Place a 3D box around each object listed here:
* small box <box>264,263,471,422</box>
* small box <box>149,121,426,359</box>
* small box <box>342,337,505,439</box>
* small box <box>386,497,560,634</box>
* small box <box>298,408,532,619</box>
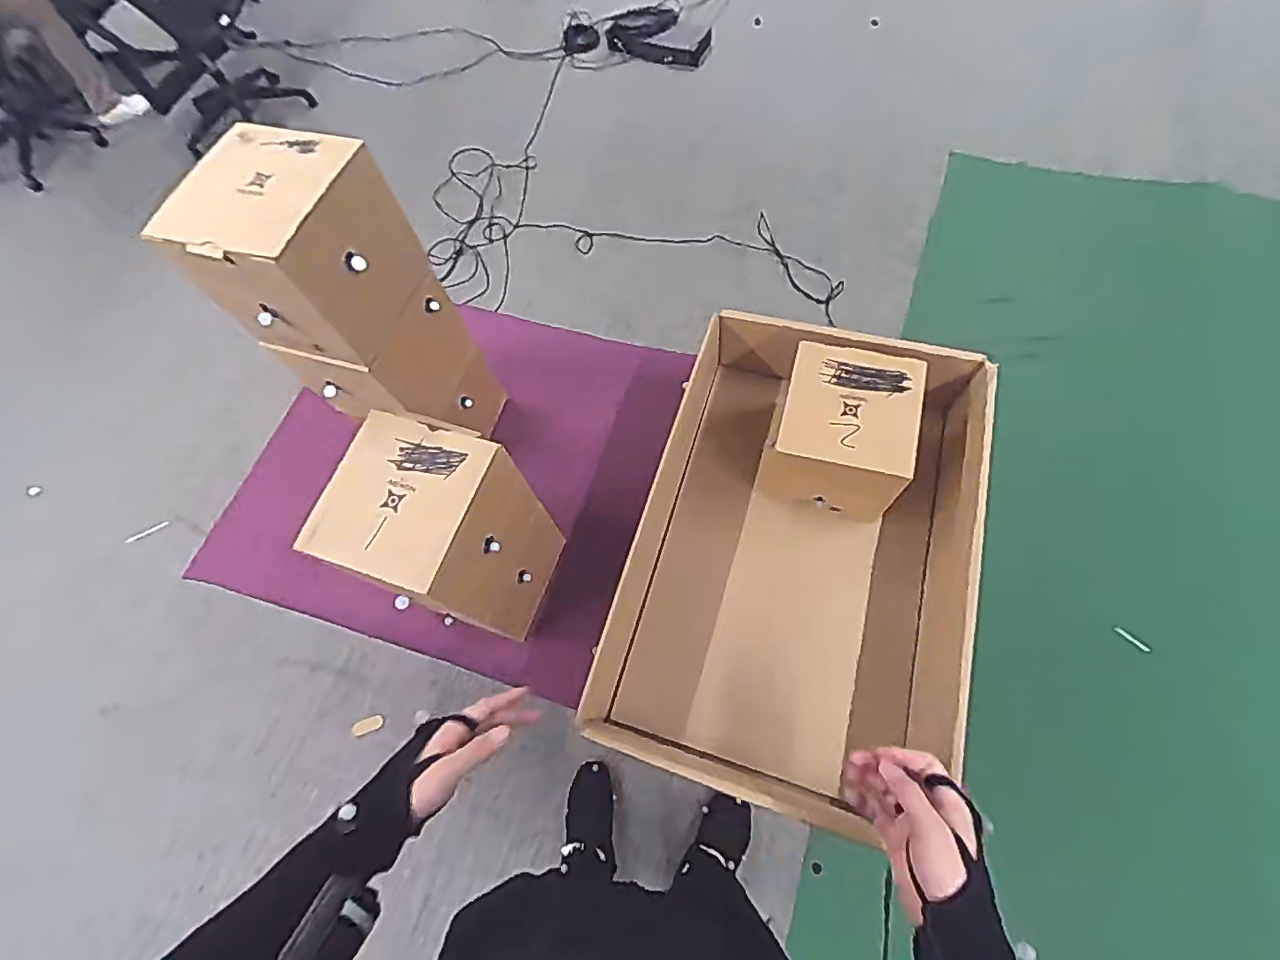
[{"bbox_3d":[-0.368,-0.197,0.771,0.168,0.176,0.179,15,68,11],"label":"small box"},{"bbox_3d":[-0.379,-0.266,0.622,0.168,0.176,0.179,15,69,11],"label":"small box"},{"bbox_3d":[-0.351,-0.137,0.920,0.168,0.176,0.179,16,69,11],"label":"small box"},{"bbox_3d":[-0.233,0.112,0.796,0.168,0.176,0.179,17,69,12],"label":"small box"},{"bbox_3d":[-0.246,0.047,0.646,0.168,0.176,0.179,16,69,13],"label":"small box"}]
